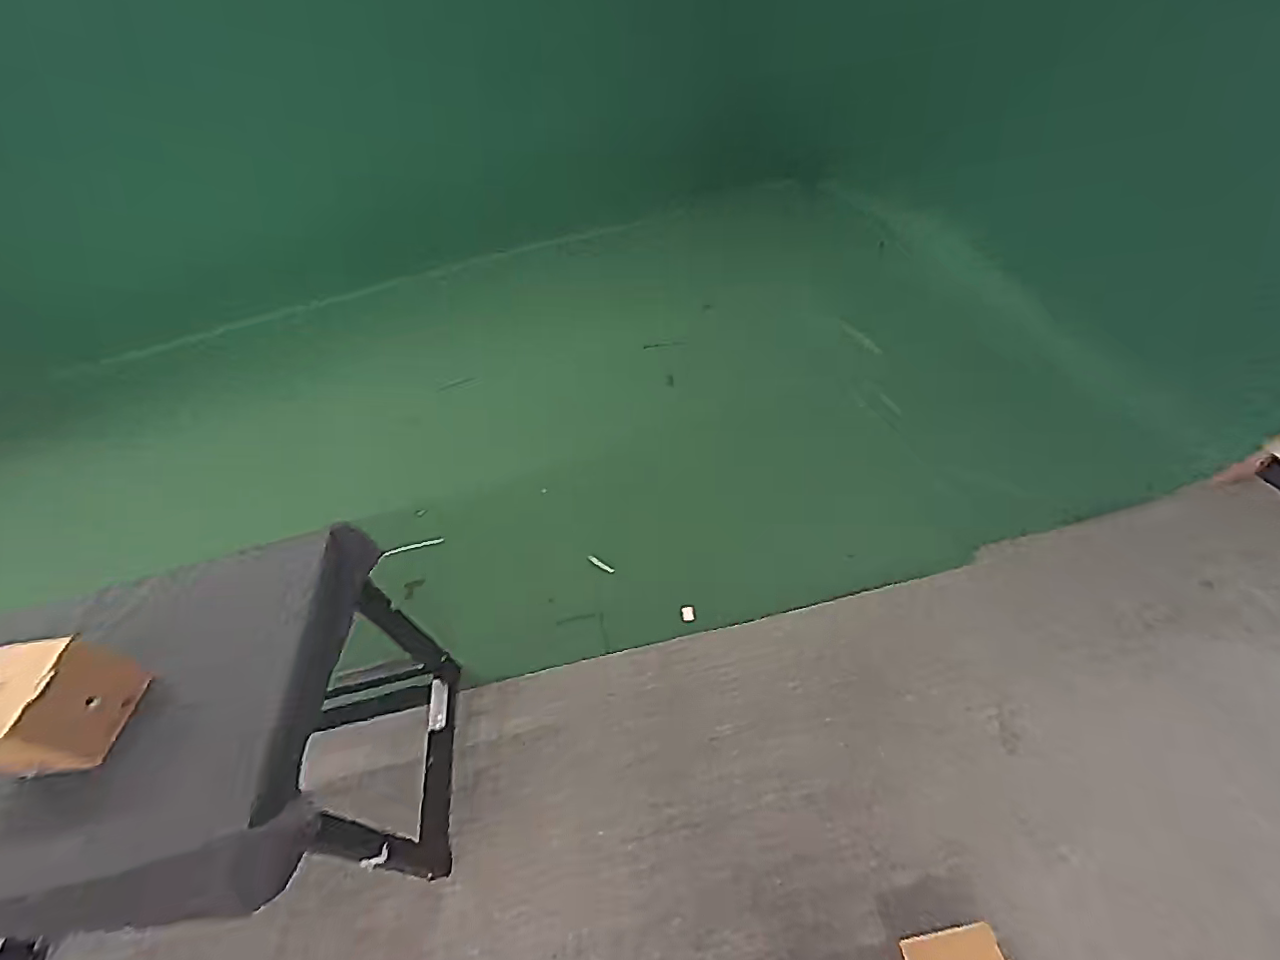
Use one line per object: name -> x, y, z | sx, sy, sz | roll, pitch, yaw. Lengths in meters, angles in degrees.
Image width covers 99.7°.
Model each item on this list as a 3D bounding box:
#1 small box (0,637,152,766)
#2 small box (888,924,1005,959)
small box -> -1.048, 0.399, 0.965 | 0.179, 0.176, 0.168 | -7, 48, 7
small box -> 0.595, 0.961, 1.021 | 0.179, 0.176, 0.168 | -13, 45, 3
